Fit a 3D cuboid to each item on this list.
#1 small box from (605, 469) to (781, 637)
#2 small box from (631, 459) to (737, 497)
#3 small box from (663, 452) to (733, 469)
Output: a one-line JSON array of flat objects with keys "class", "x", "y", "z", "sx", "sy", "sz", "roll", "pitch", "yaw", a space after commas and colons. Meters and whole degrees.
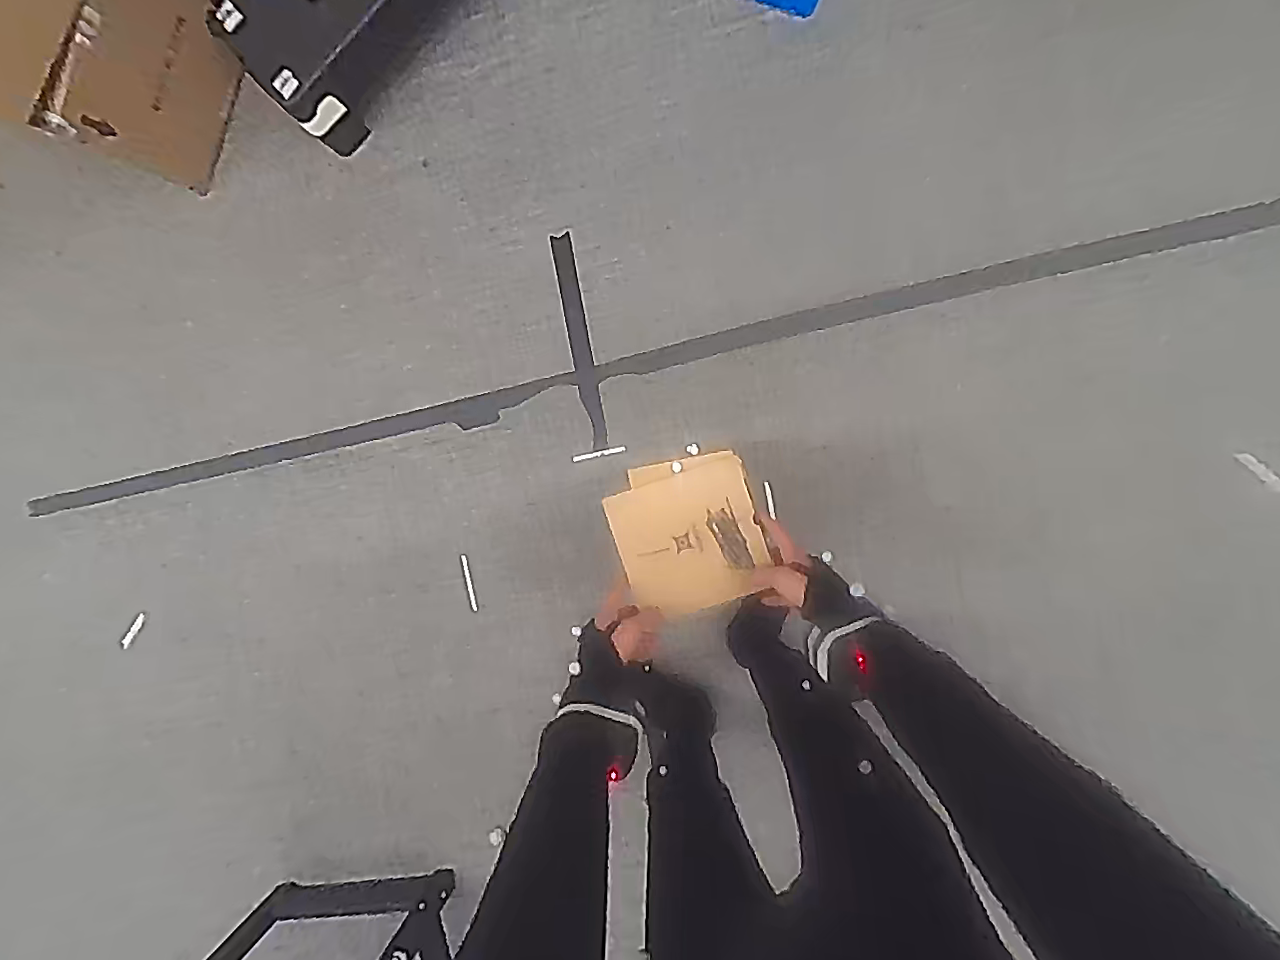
[{"class": "small box", "x": 0.070, "y": 0.085, "z": 0.726, "sx": 0.179, "sy": 0.176, "sz": 0.168, "roll": -19, "pitch": 89, "yaw": 7}, {"class": "small box", "x": 0.089, "y": 0.063, "z": 0.906, "sx": 0.168, "sy": 0.176, "sz": 0.179, "roll": -11, "pitch": 94, "yaw": 9}, {"class": "small box", "x": 0.145, "y": 0.037, "z": 1.228, "sx": 0.168, "sy": 0.176, "sz": 0.179, "roll": -14, "pitch": 94, "yaw": 10}]
